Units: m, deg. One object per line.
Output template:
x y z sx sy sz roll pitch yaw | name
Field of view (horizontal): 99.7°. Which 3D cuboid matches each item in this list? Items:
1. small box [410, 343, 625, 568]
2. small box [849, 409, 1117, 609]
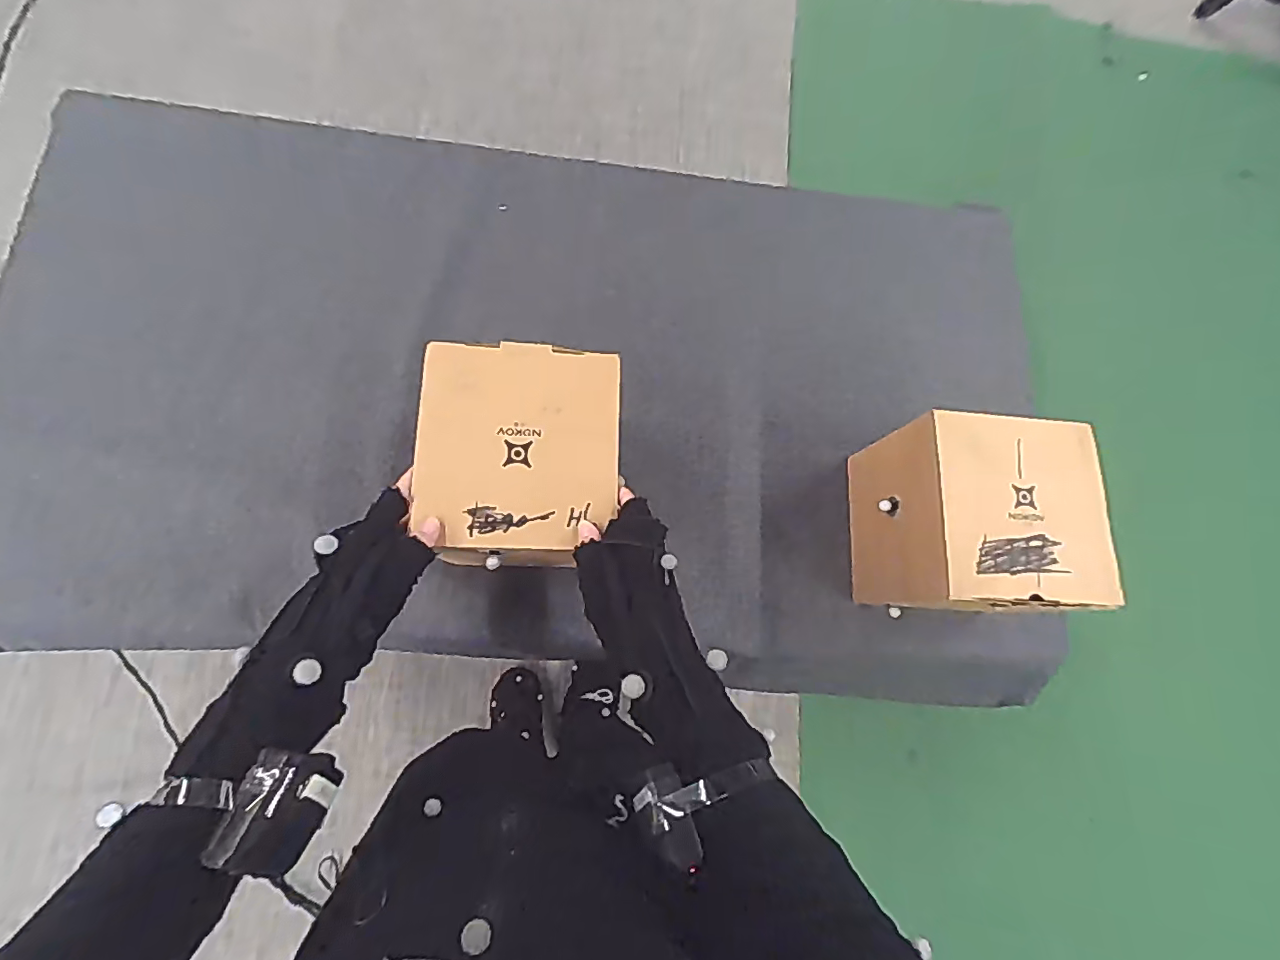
-0.107 -0.010 0.524 0.168 0.176 0.179 2 77 -7 | small box
0.337 0.043 0.568 0.168 0.176 0.179 5 75 -6 | small box
